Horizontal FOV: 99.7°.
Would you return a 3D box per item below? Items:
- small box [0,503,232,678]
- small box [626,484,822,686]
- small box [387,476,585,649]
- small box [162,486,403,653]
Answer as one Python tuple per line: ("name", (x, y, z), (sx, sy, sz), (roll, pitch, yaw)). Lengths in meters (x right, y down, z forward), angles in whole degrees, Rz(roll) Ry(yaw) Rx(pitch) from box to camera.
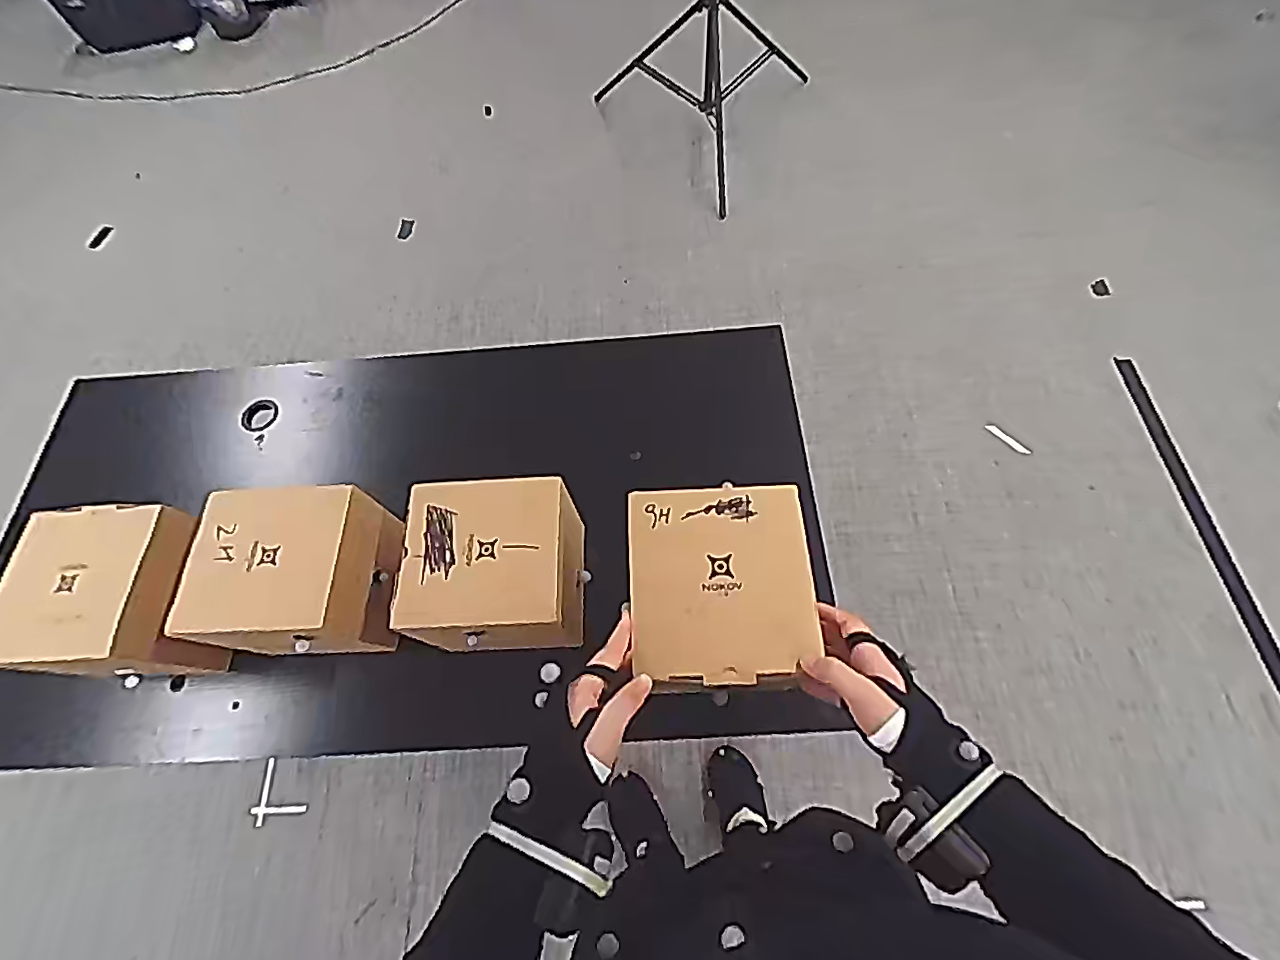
("small box", (-0.627, 0.143, 0.669), (0.168, 0.176, 0.179), (-5, 66, 4))
("small box", (0.074, 0.117, 0.556), (0.168, 0.176, 0.179), (-2, 66, 2))
("small box", (-0.168, 0.106, 0.650), (0.179, 0.176, 0.168), (-3, 65, 2))
("small box", (-0.408, 0.116, 0.663), (0.179, 0.176, 0.168), (-3, 65, 3))
